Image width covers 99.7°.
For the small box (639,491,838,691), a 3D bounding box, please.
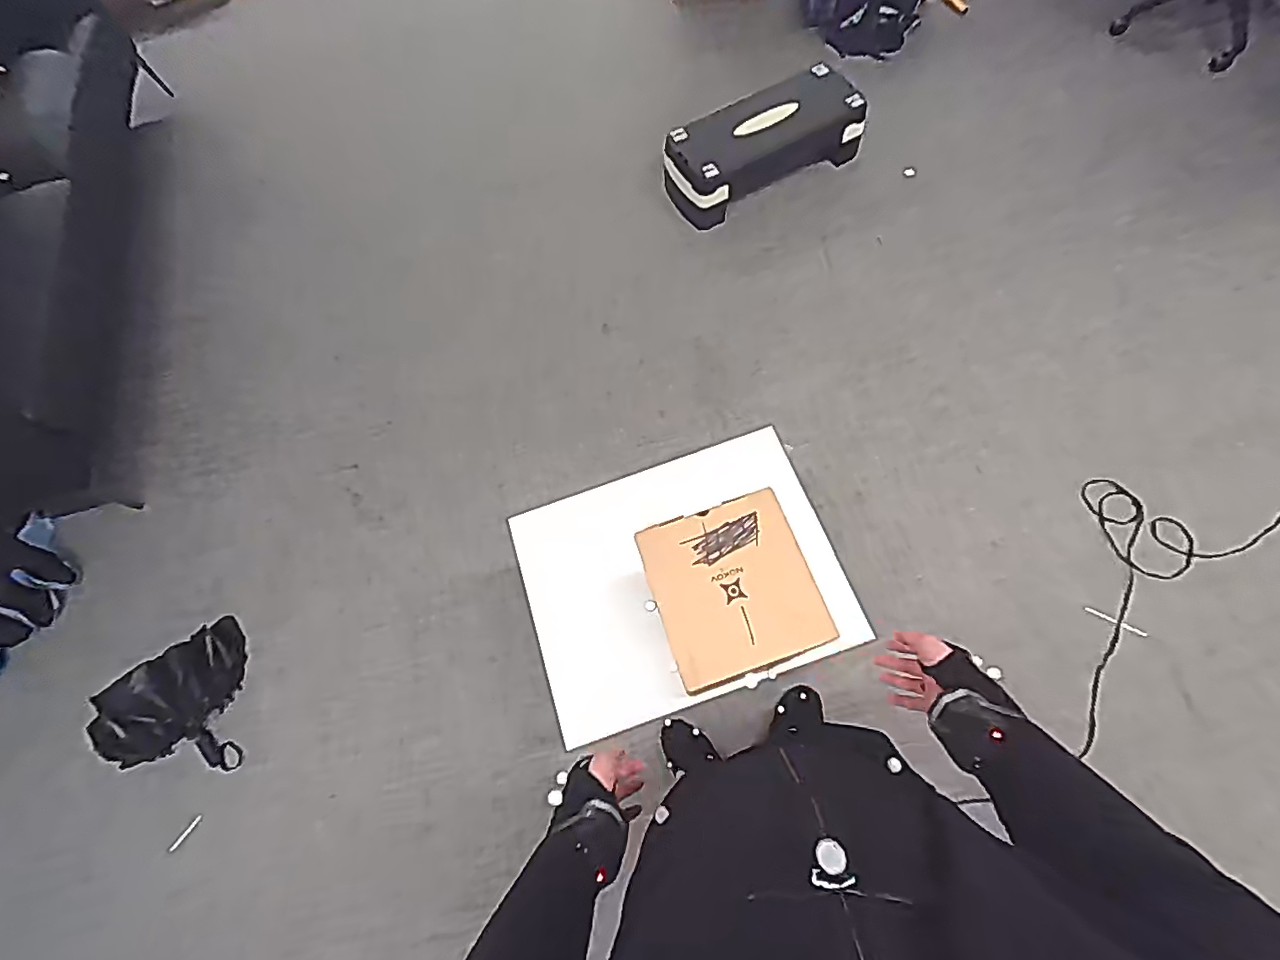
[{"bbox_3d":[0.105,0.141,0.647,0.168,0.176,0.179,-19,68,-2],"label":"small box"}]
